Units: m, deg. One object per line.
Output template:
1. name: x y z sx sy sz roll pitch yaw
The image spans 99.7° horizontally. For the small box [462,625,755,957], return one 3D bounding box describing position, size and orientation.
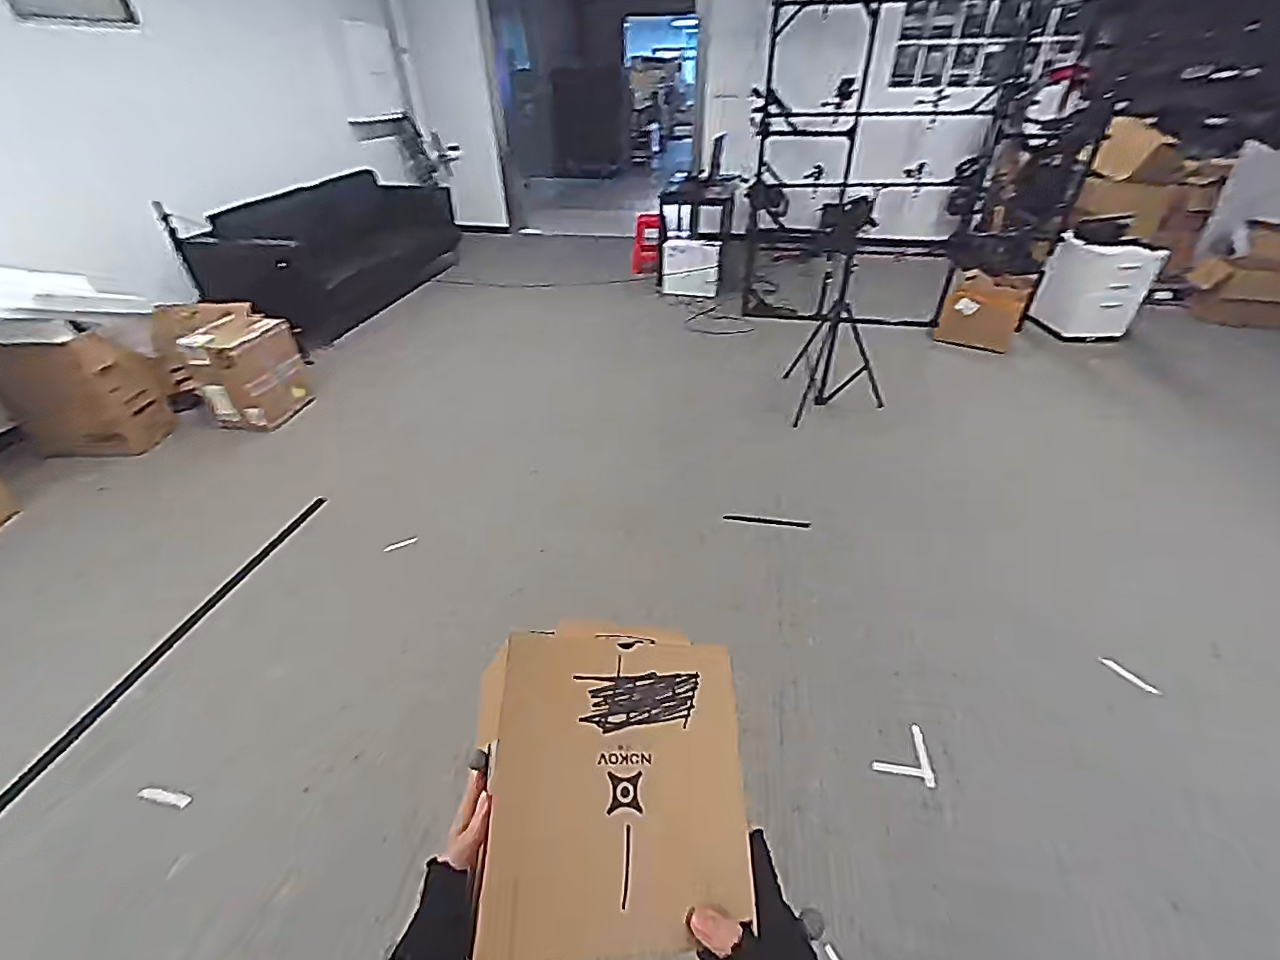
1. small box: -0.035 0.225 0.409 0.168 0.176 0.179 9 57 -17
